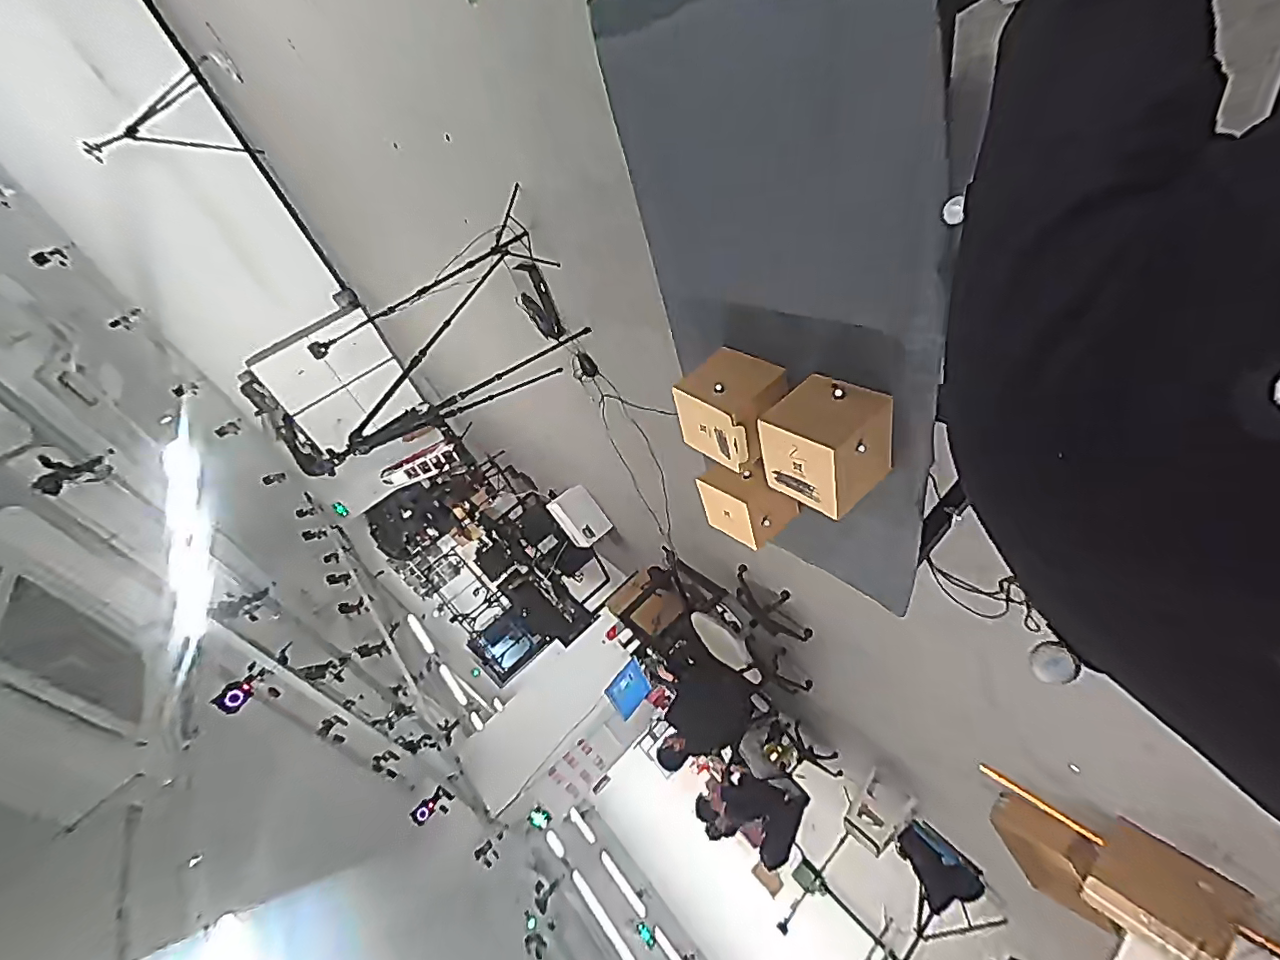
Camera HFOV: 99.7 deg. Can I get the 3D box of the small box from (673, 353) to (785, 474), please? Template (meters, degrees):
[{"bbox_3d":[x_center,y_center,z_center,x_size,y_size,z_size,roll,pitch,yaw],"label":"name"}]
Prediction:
[{"bbox_3d":[0.200,-0.151,1.173,0.179,0.176,0.168,34,153,39],"label":"small box"}]
